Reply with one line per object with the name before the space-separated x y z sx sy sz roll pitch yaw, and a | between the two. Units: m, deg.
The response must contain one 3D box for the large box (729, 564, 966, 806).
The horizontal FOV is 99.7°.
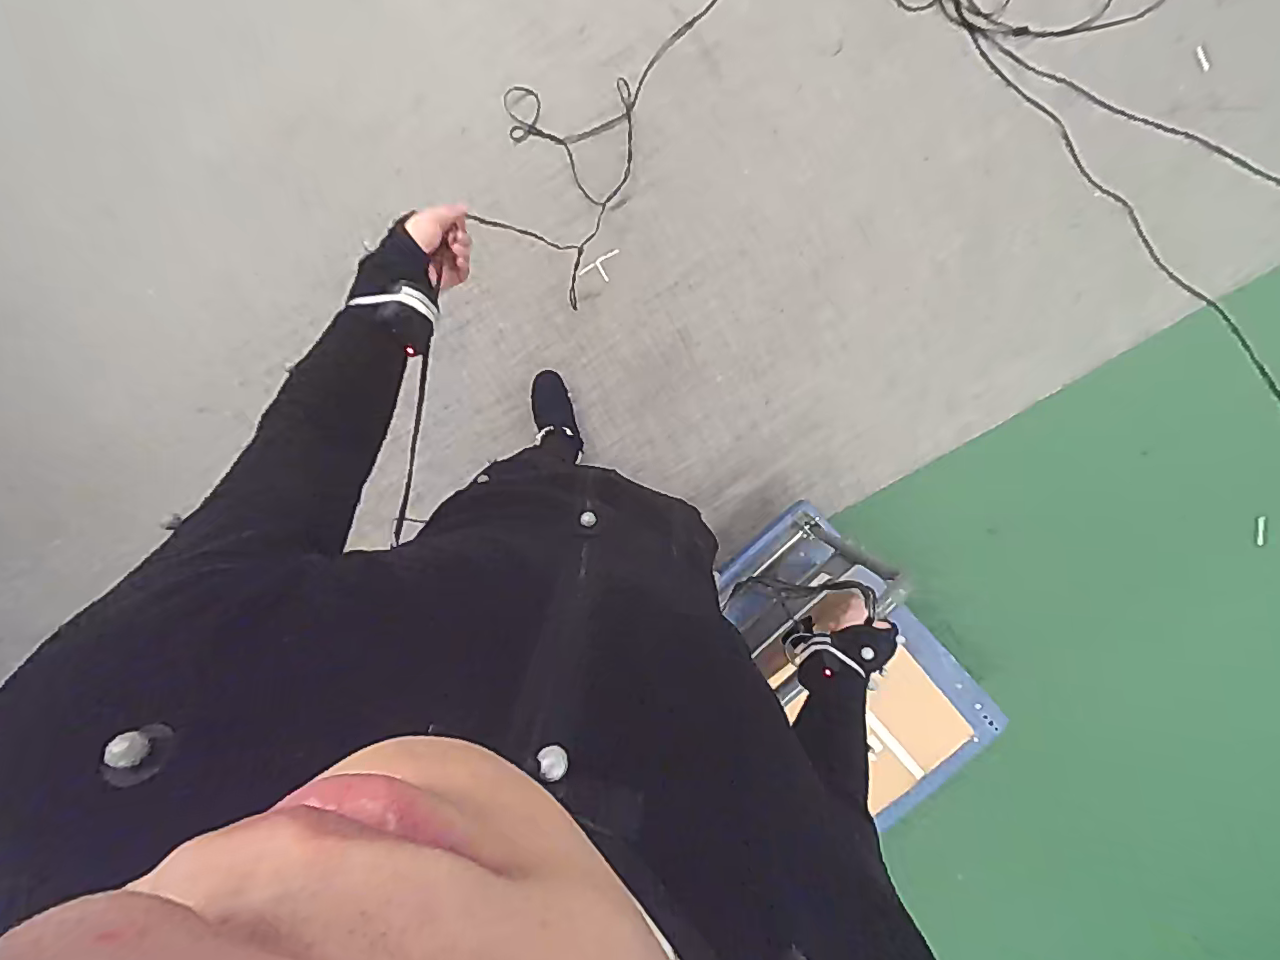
large box | 0.486 0.484 1.351 0.320 0.320 0.408 -40 96 4
